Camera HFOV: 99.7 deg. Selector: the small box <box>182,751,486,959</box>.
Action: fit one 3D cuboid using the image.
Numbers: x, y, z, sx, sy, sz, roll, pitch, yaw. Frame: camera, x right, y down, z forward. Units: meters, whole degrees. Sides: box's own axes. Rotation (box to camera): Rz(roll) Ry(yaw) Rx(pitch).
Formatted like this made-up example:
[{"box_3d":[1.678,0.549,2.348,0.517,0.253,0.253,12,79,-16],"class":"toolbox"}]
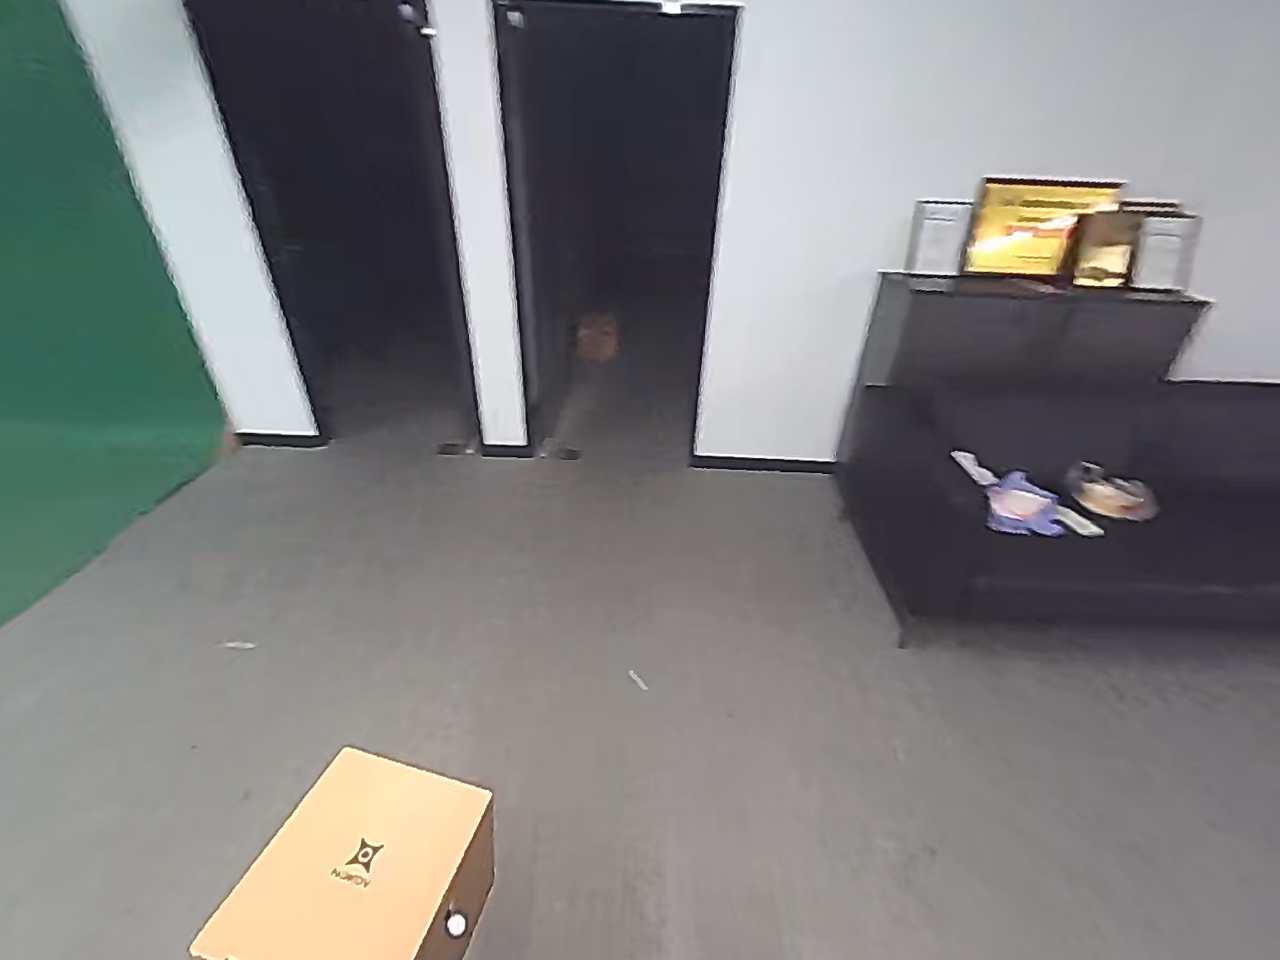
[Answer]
[{"box_3d":[-0.259,0.400,0.503,0.168,0.176,0.179,13,31,6],"class":"small box"}]
